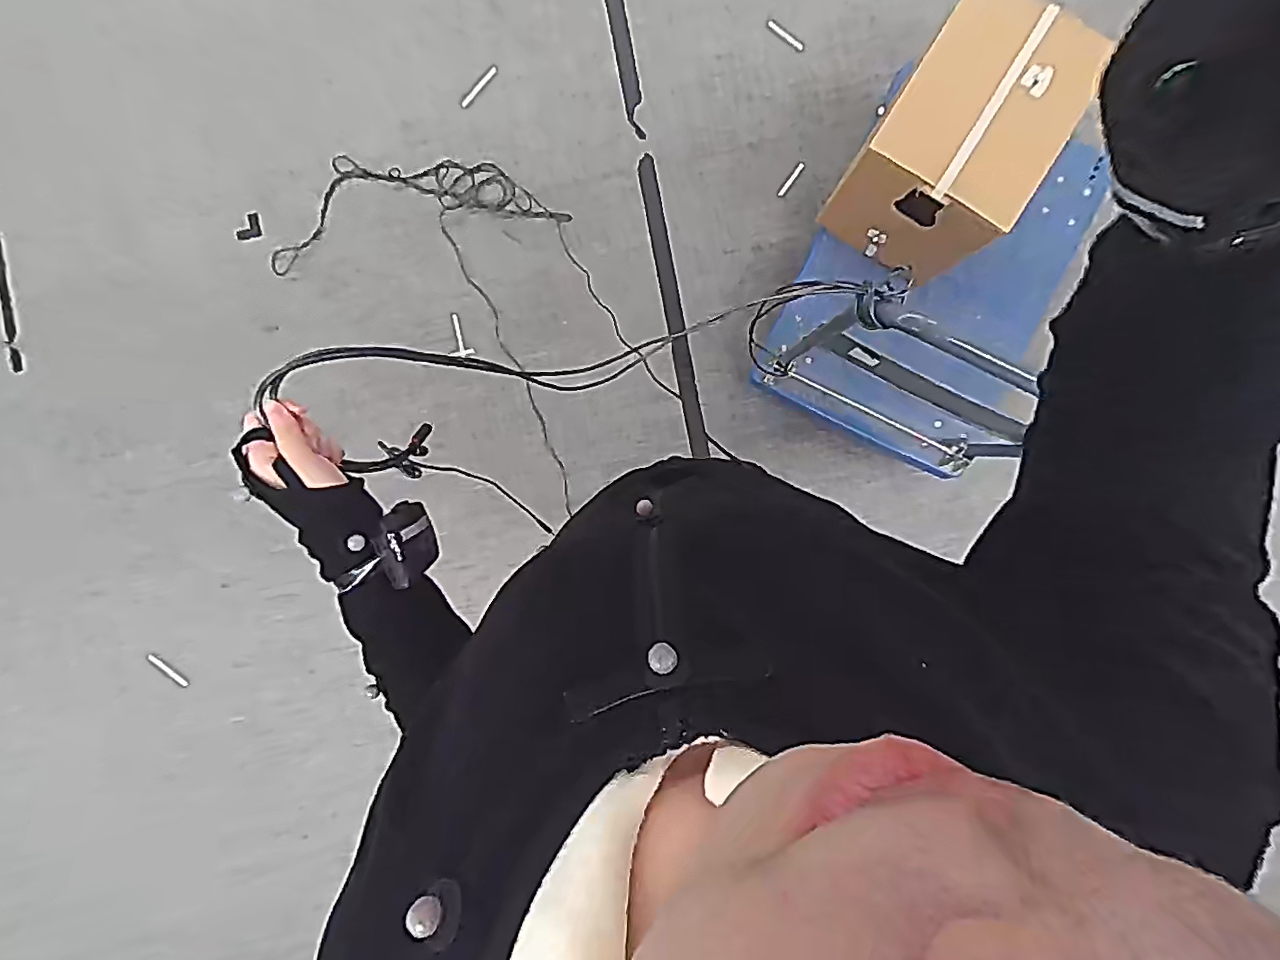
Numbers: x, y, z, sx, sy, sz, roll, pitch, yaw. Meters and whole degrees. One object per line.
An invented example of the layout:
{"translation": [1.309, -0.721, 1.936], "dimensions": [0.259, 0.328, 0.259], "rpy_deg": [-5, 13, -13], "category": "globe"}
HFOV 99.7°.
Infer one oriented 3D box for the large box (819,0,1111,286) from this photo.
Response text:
{"translation": [0.654, -0.709, 1.161], "dimensions": [0.320, 0.320, 0.408], "rpy_deg": [31, 90, -1], "category": "large box"}
